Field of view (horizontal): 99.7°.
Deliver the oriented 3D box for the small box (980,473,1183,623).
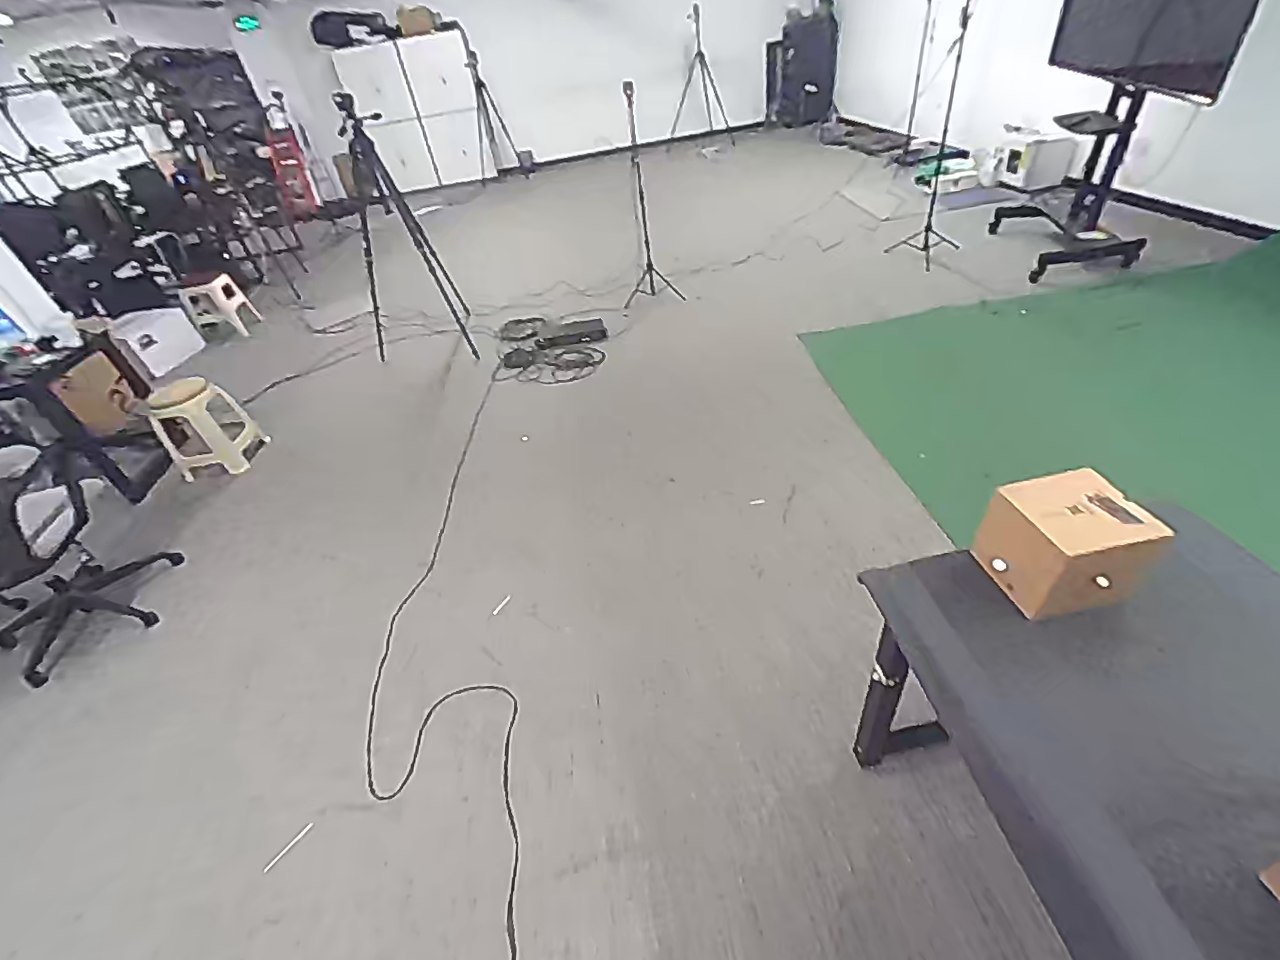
[{"bbox_3d":[0.717,0.114,0.906,0.179,0.176,0.168,-11,39,-2],"label":"small box"}]
